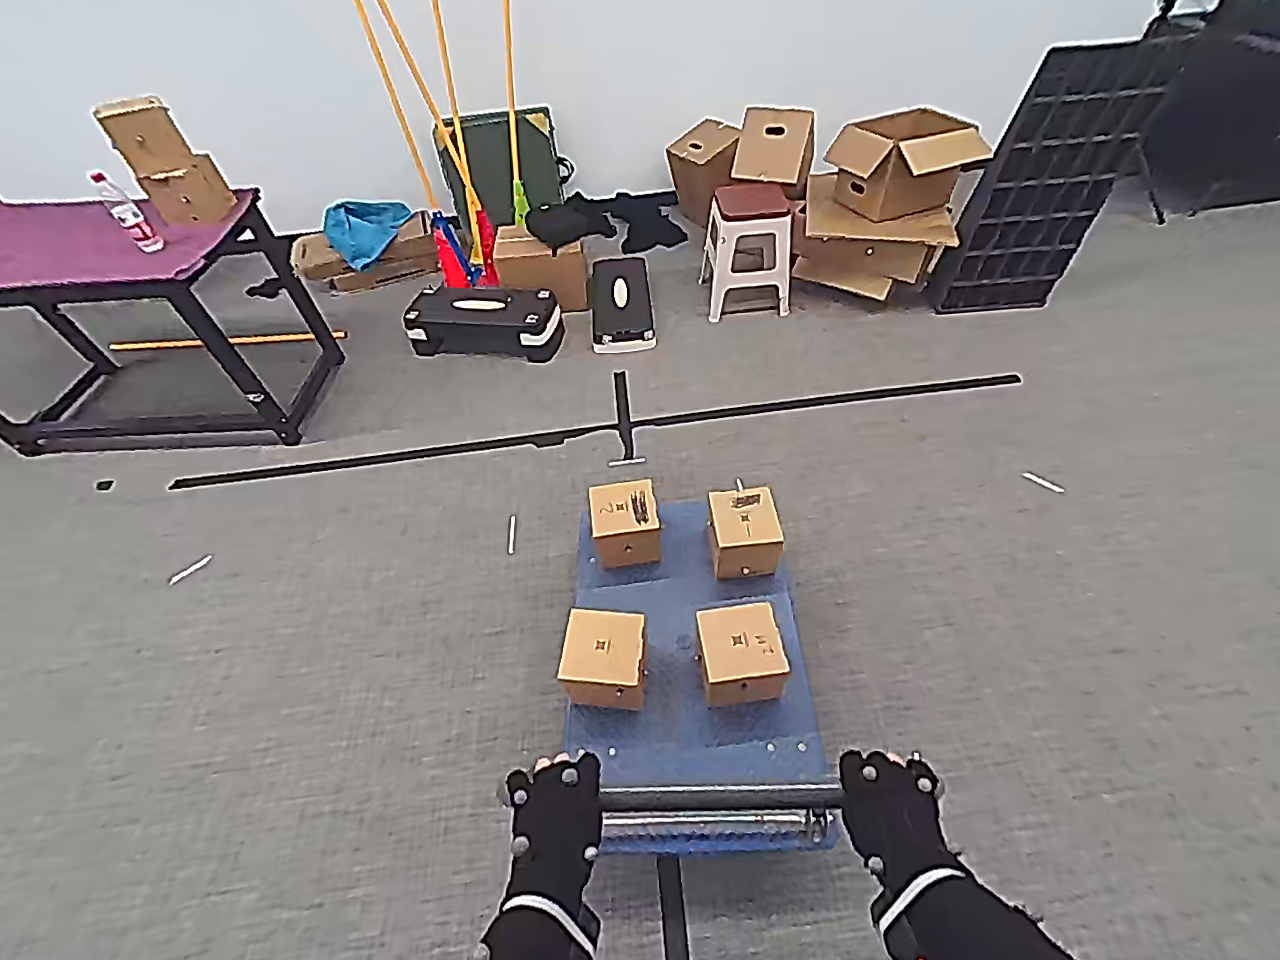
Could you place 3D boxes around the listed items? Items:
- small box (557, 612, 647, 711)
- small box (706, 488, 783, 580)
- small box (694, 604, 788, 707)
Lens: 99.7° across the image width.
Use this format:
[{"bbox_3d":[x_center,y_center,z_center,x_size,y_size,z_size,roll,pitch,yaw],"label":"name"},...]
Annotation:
[{"bbox_3d":[-0.080,0.423,1.250,0.179,0.176,0.168,3,51,5],"label":"small box"},{"bbox_3d":[0.270,0.146,1.448,0.168,0.176,0.179,-6,51,0],"label":"small box"},{"bbox_3d":[0.224,0.406,1.238,0.179,0.176,0.168,-8,51,-1],"label":"small box"}]
